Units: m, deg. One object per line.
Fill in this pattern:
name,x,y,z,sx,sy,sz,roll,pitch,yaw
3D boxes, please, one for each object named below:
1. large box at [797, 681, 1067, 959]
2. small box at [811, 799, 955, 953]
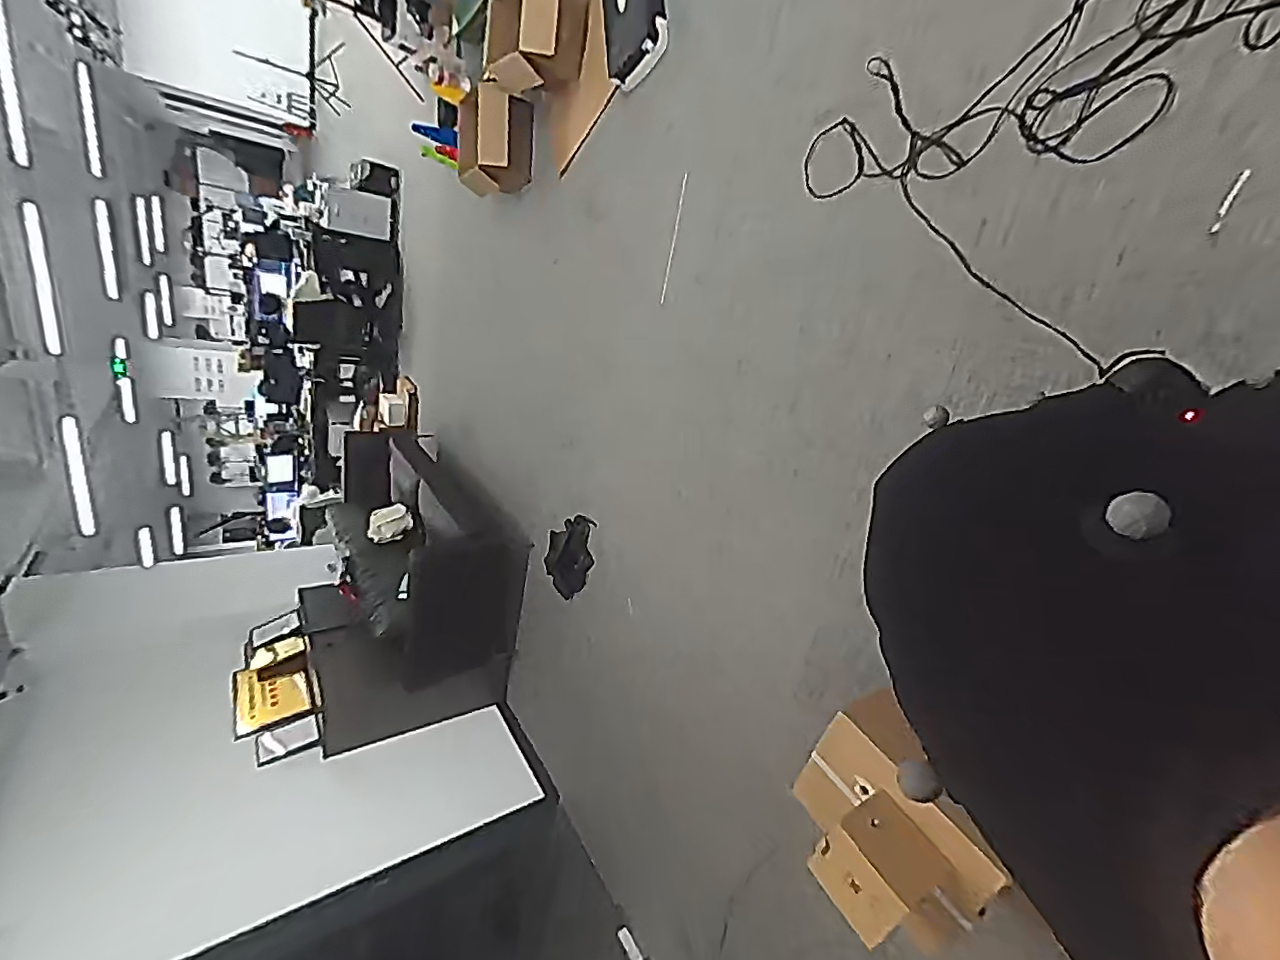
large box,0.666,0.763,1.277,0.408,0.320,0.320,44,126,44
small box,0.493,0.791,1.104,0.179,0.176,0.168,43,128,42
